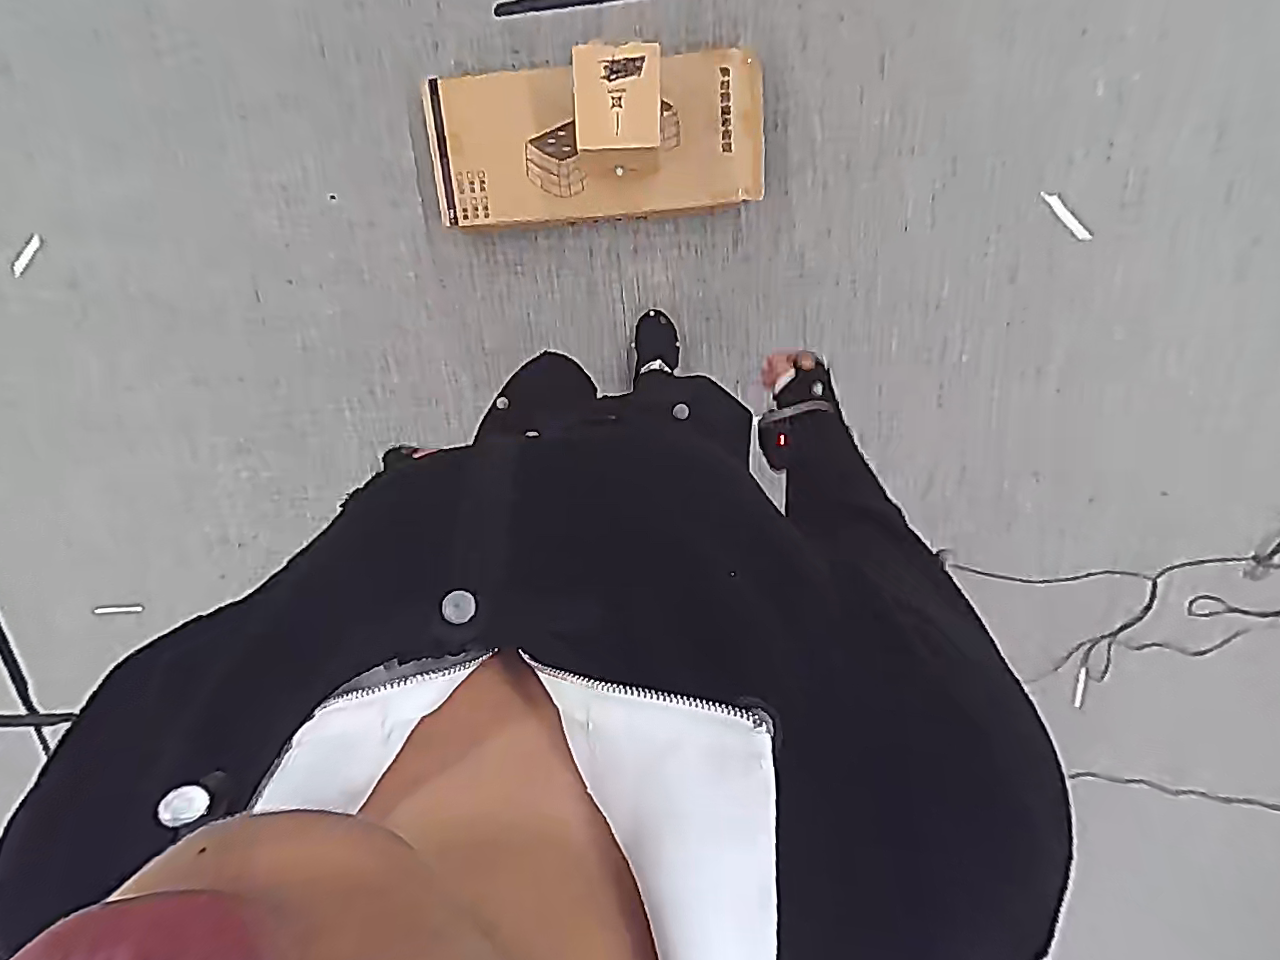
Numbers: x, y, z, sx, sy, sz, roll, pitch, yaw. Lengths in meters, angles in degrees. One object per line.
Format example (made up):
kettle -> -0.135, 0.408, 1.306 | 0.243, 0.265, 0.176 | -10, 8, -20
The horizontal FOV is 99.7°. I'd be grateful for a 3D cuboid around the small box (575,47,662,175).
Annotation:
small box -> -0.040, -0.747, 1.111 | 0.168, 0.176, 0.179 | 0, 106, 2
